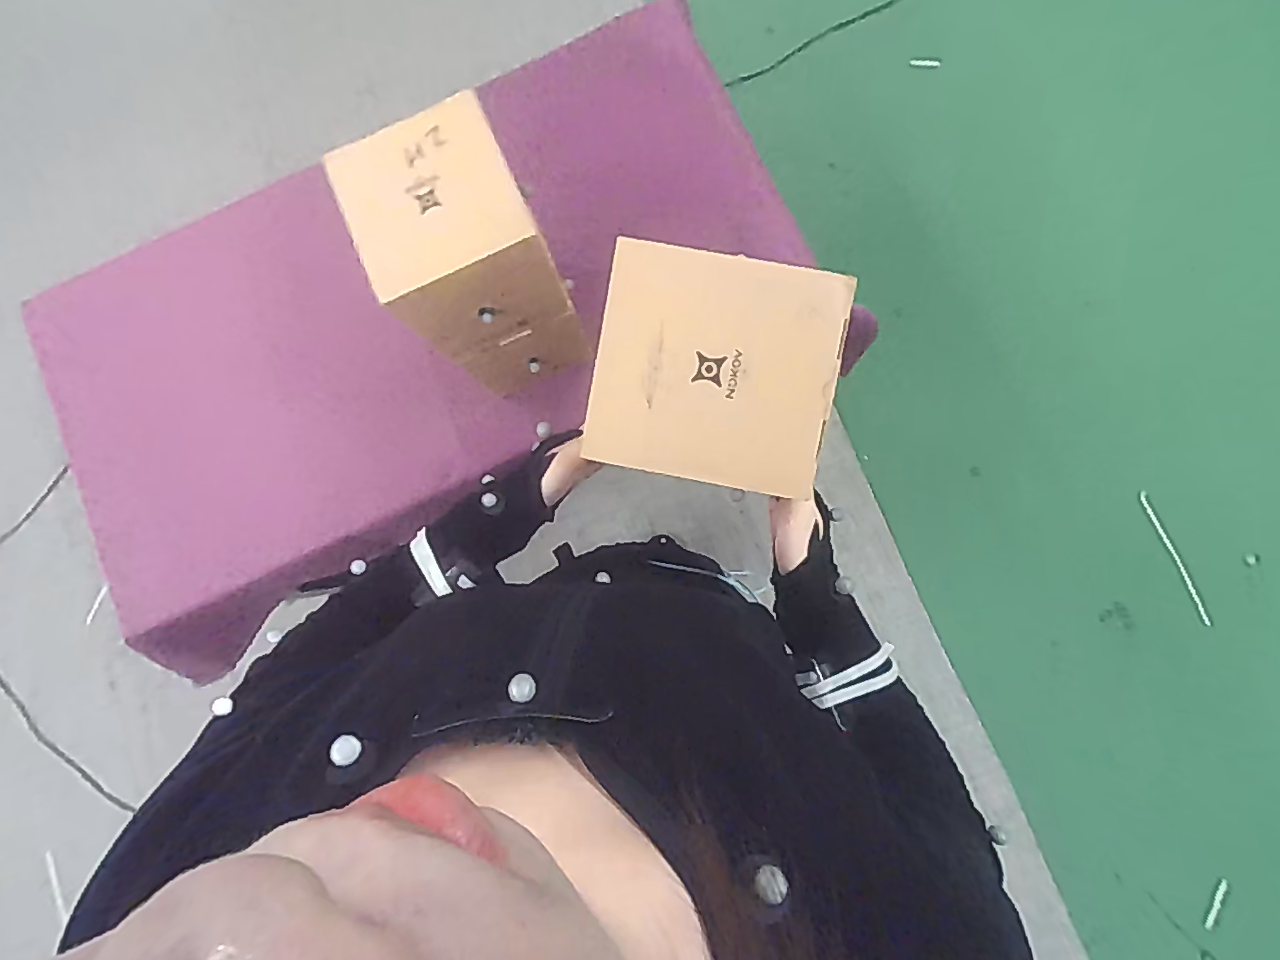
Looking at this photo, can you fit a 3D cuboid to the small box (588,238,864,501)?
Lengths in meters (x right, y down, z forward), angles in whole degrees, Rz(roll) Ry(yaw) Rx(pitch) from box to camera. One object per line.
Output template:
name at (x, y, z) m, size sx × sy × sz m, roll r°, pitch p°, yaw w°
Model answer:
small box at (0.066, -0.087, 0.478) m, size 0.179 × 0.176 × 0.168 m, roll 12°, pitch 95°, yaw 3°

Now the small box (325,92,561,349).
small box at (-0.201, -0.265, 0.601) m, size 0.168 × 0.176 × 0.179 m, roll -22°, pitch 81°, yaw 0°

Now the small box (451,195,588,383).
small box at (-0.186, -0.252, 0.766) m, size 0.168 × 0.176 × 0.179 m, roll -24°, pitch 84°, yaw 0°
